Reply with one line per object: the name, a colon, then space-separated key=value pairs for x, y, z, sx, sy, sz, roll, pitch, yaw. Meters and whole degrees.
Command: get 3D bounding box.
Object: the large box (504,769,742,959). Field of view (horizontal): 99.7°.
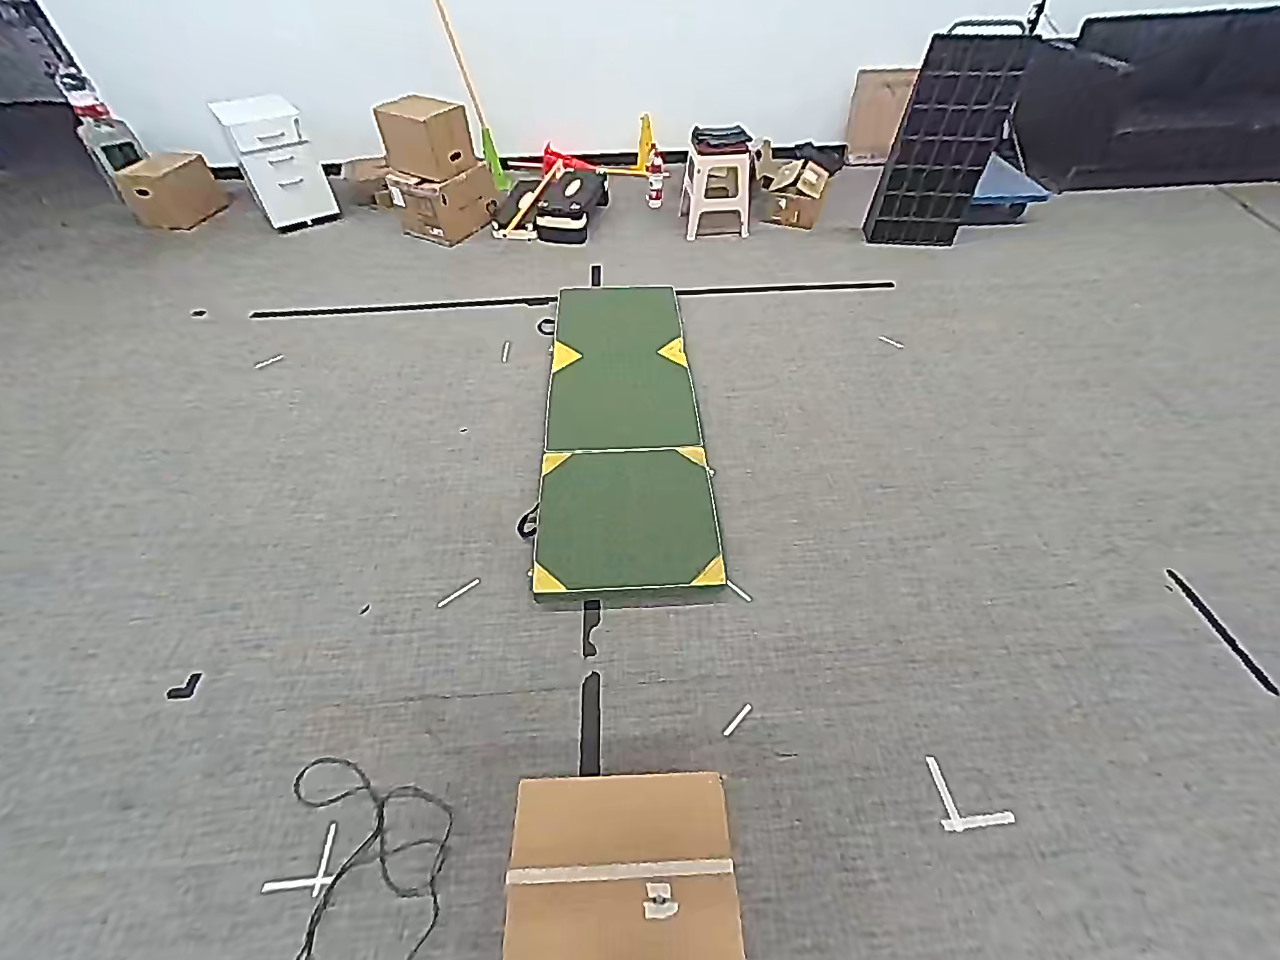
large box: x=-0.037 y=0.807 z=1.094 sx=0.408 sy=0.320 sz=0.320 roll=-1 pitch=48 yaw=-2
